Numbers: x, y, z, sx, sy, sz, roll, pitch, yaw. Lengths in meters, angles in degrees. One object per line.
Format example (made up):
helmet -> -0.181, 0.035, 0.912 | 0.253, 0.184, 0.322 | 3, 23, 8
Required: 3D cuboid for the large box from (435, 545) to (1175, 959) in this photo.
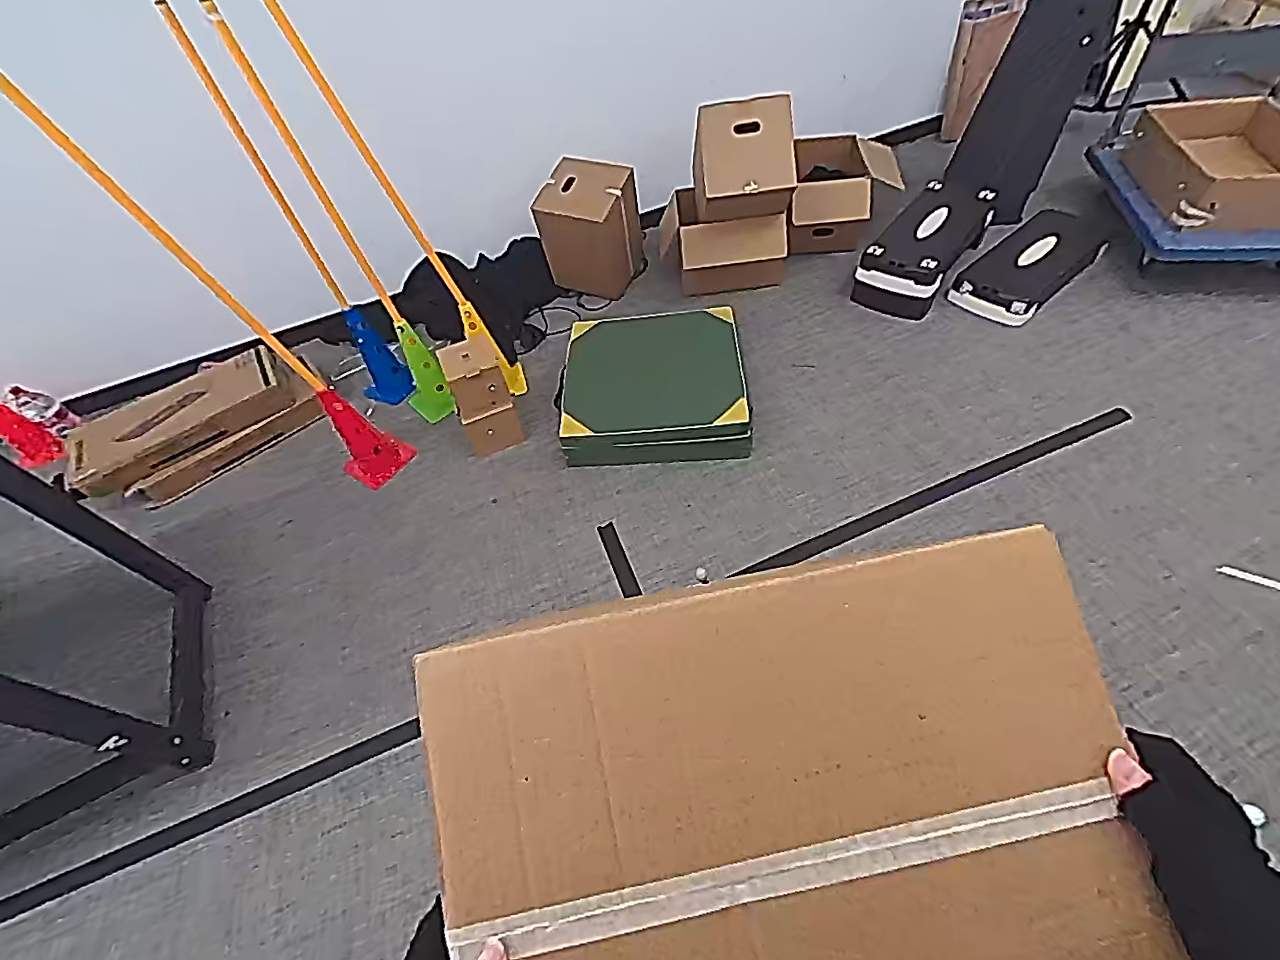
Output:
large box -> 0.097, 0.255, 0.465 | 0.408, 0.320, 0.320 | -12, 79, -2
